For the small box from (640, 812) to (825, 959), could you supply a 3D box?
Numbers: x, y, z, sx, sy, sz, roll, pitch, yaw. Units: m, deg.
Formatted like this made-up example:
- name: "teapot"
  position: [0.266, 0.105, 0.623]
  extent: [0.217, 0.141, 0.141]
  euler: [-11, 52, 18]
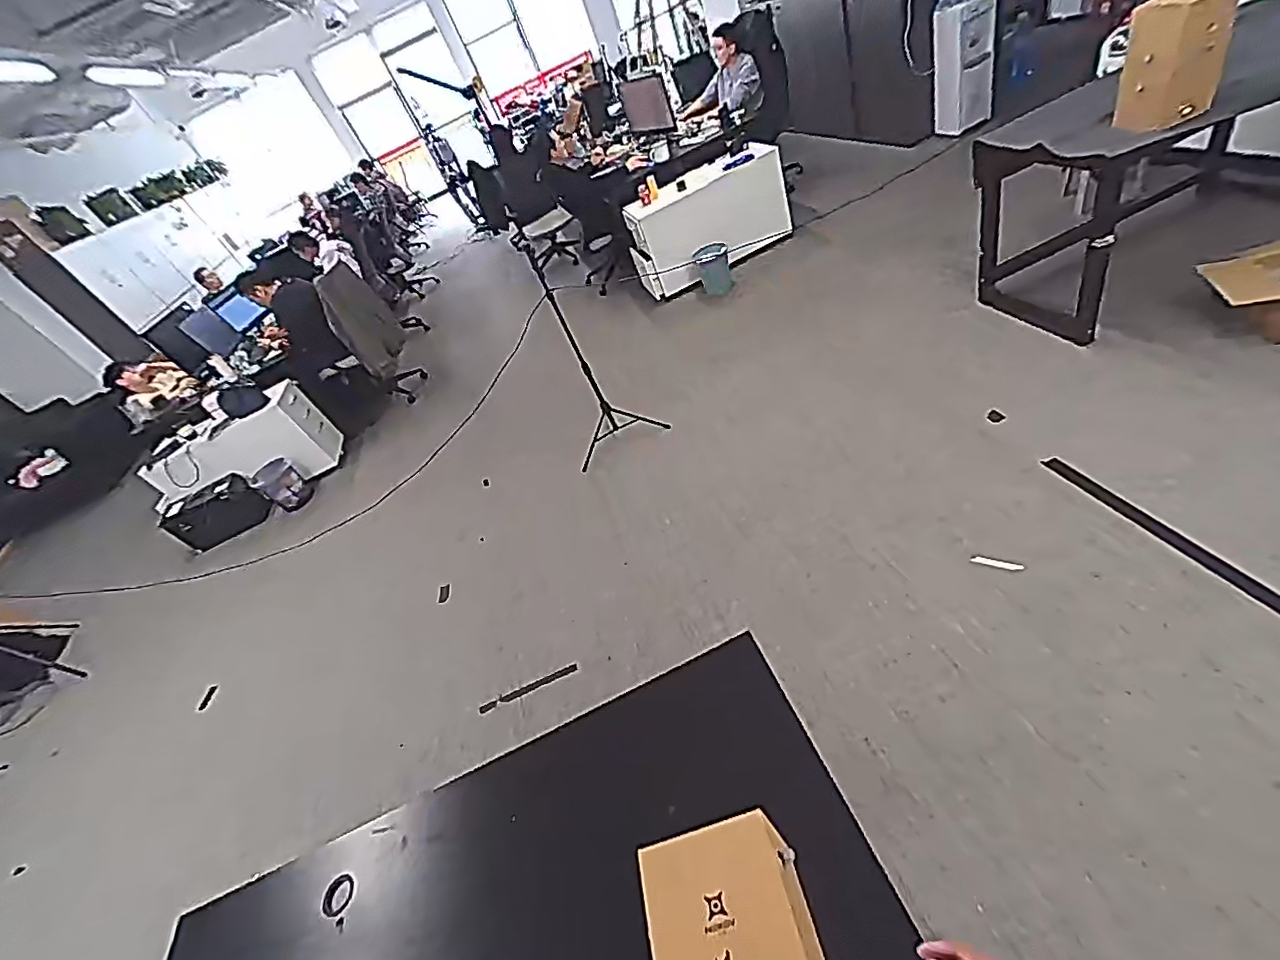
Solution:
- name: "small box"
  position: [0.116, 0.538, 0.645]
  extent: [0.168, 0.176, 0.179]
  euler: [-23, 39, 7]
